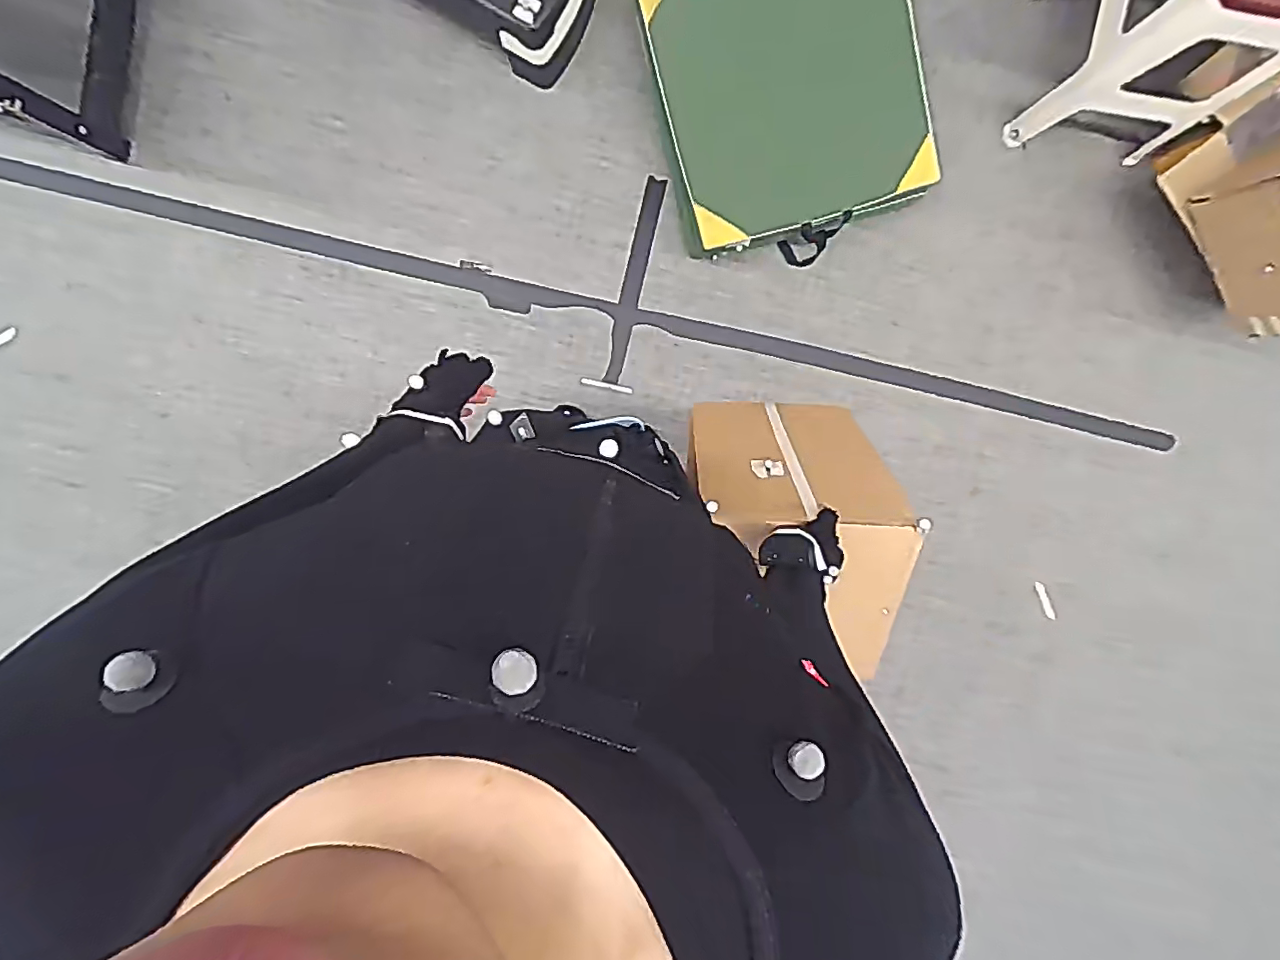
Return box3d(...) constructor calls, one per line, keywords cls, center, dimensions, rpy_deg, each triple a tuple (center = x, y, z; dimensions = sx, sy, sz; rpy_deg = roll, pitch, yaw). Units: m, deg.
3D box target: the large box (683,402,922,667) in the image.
box3d(cls="large box", center=(0.248, 0.081, 1.005), dimensions=(0.320, 0.408, 0.320), rpy_deg=(1, 123, 2))
